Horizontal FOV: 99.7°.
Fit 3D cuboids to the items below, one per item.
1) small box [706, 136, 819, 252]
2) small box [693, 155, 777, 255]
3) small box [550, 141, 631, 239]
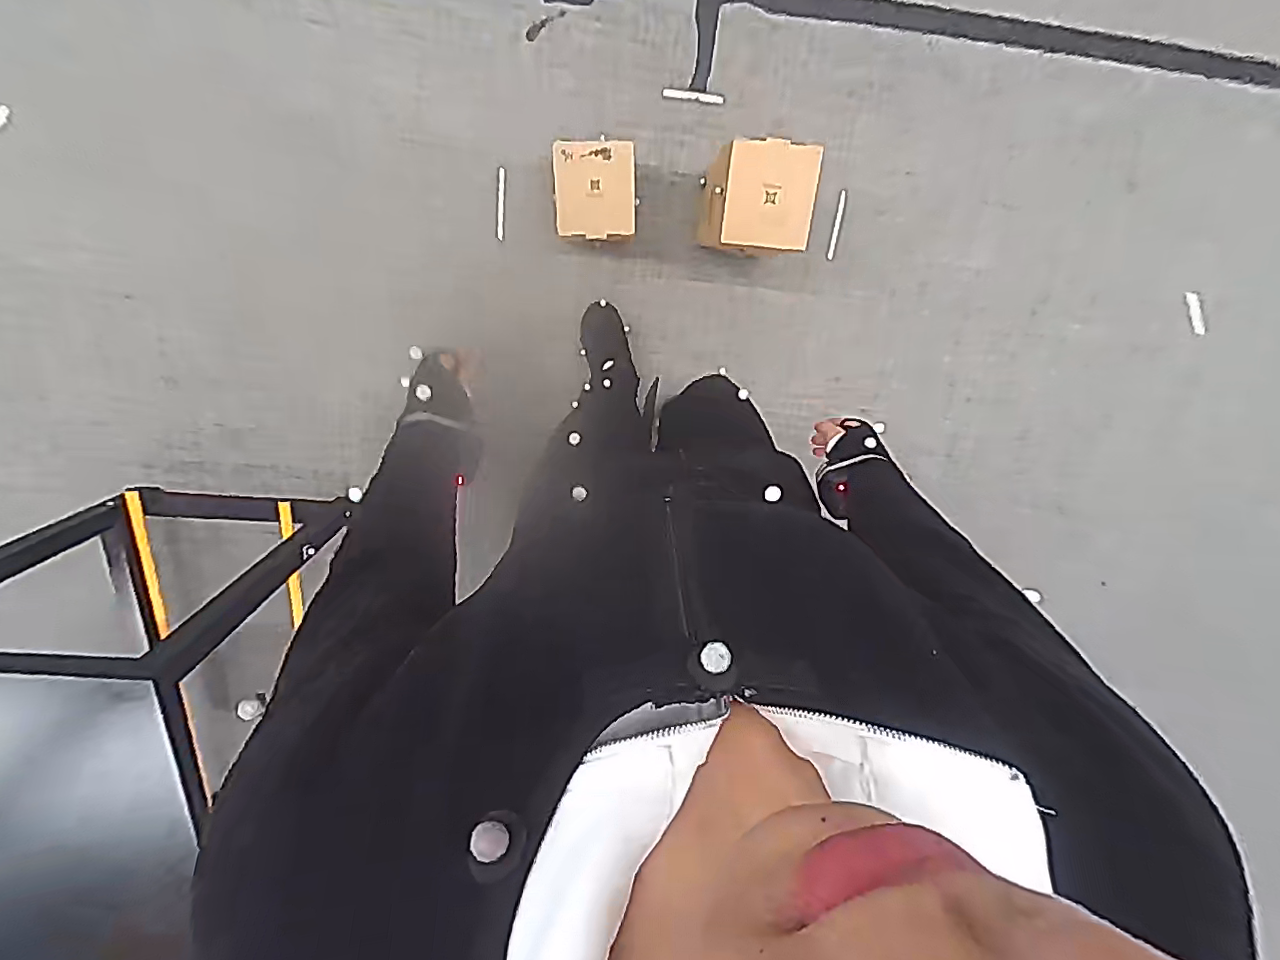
[{"bbox_3d":[0.230,-0.550,1.061,0.168,0.176,0.179,3,112,-3],"label":"small box"},{"bbox_3d":[0.226,-0.607,1.213,0.179,0.176,0.168,7,111,-7],"label":"small box"},{"bbox_3d":[-0.103,-0.626,1.184,0.168,0.176,0.179,-1,112,-3],"label":"small box"}]
